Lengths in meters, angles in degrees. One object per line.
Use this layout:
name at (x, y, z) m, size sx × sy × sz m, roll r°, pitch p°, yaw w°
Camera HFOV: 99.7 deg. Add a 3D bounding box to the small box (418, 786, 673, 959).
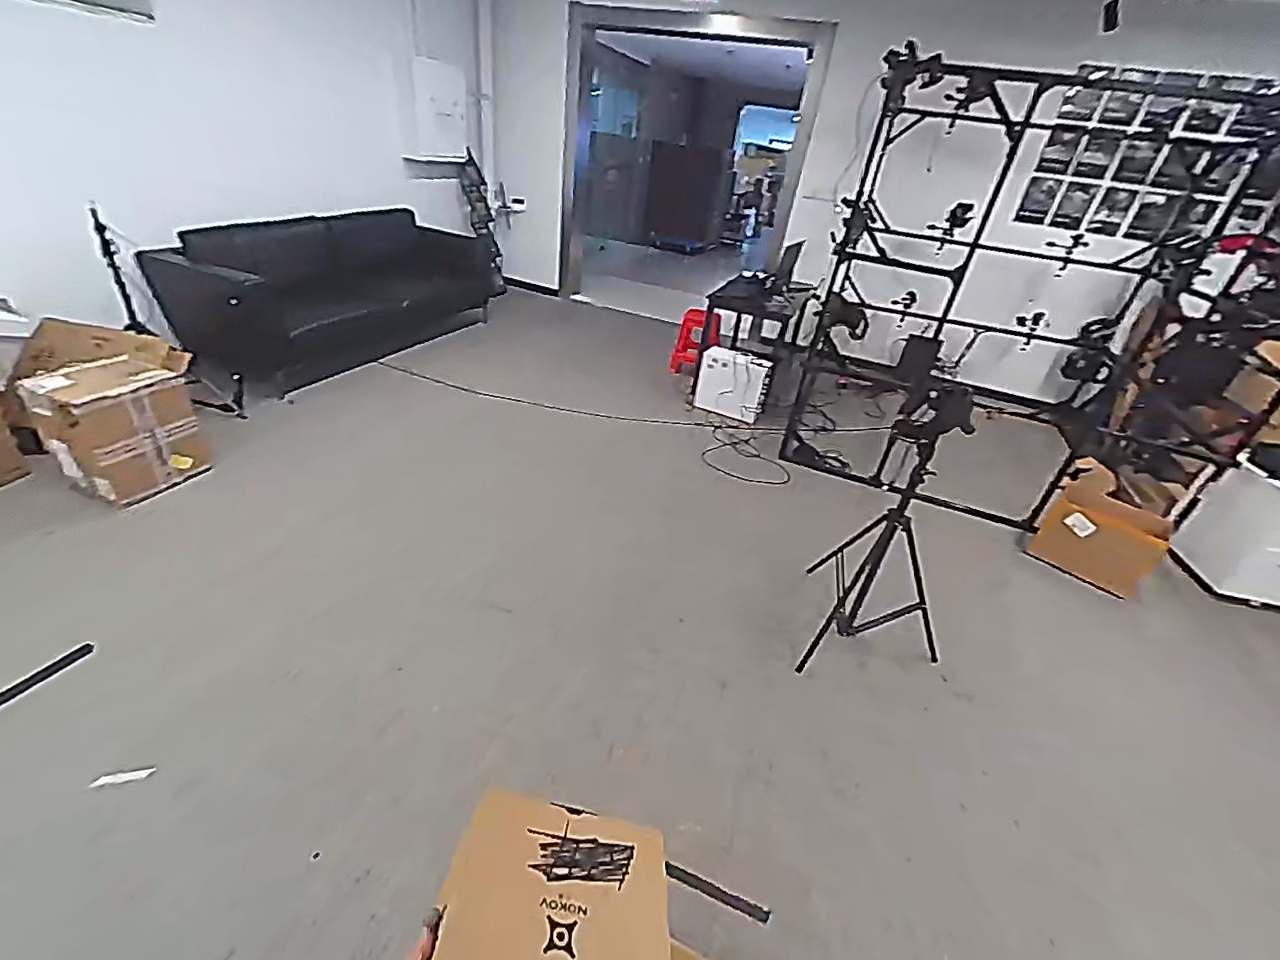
small box at (-0.083, 0.381, 0.407) m, size 0.168 × 0.176 × 0.179 m, roll 19°, pitch 19°, yaw -9°
